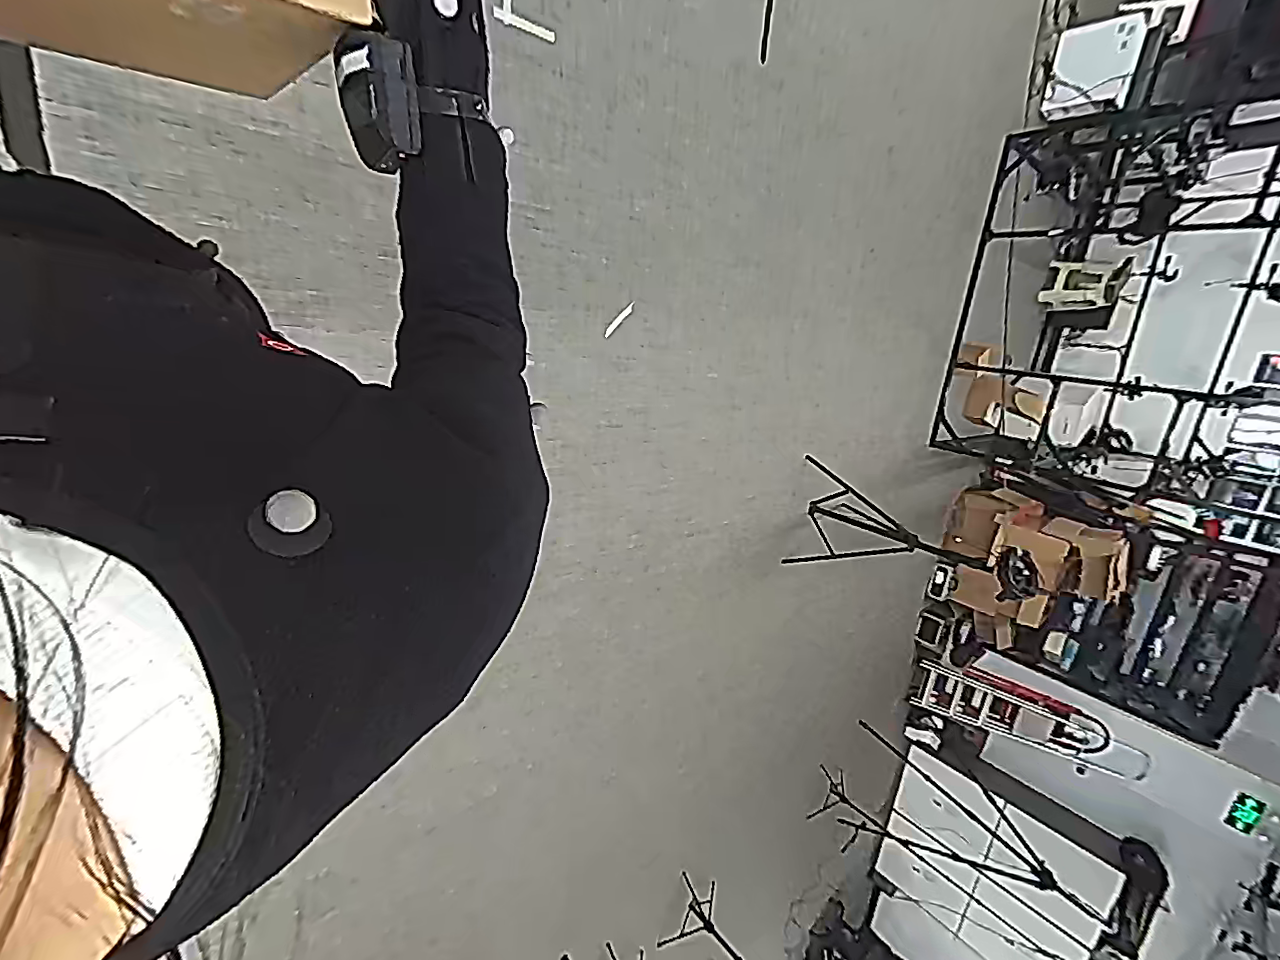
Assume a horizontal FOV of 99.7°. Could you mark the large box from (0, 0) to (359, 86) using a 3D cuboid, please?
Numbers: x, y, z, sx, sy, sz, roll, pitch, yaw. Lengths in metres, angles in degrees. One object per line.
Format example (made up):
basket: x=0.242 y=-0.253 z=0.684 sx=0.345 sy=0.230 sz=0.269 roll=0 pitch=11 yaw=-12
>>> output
large box: x=-0.398 y=-0.423 z=0.234 sx=0.408 sy=0.320 sz=0.320 roll=-14 pitch=120 yaw=-40
